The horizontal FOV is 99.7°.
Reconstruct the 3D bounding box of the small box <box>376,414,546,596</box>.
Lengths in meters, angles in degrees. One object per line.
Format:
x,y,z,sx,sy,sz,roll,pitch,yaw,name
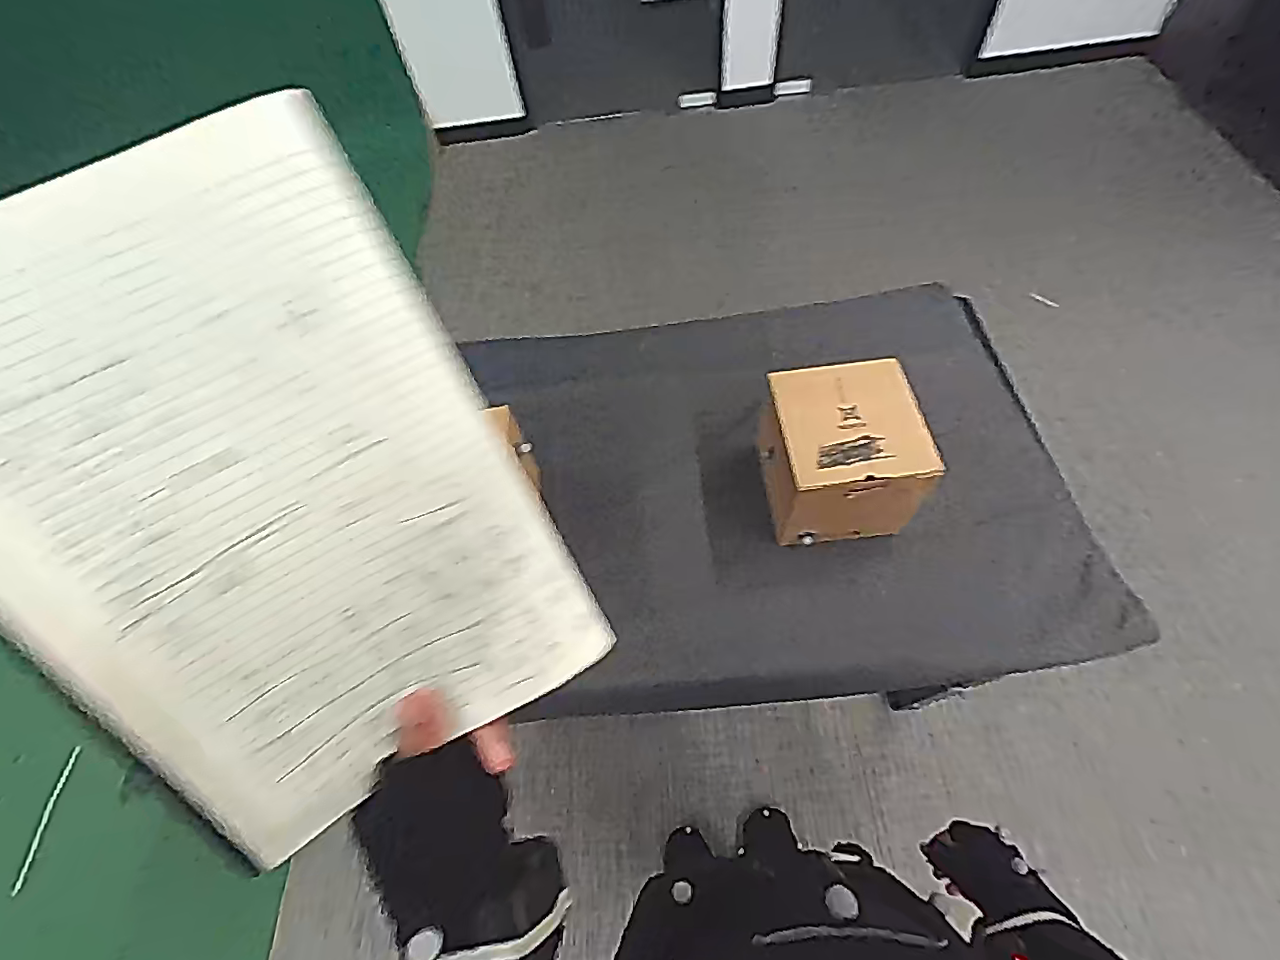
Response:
-0.229,0.038,0.736,0.168,0.176,0.179,-10,59,0,small box

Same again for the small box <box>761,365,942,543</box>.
0.263,-0.025,0.723,0.168,0.176,0.179,-7,58,2,small box
